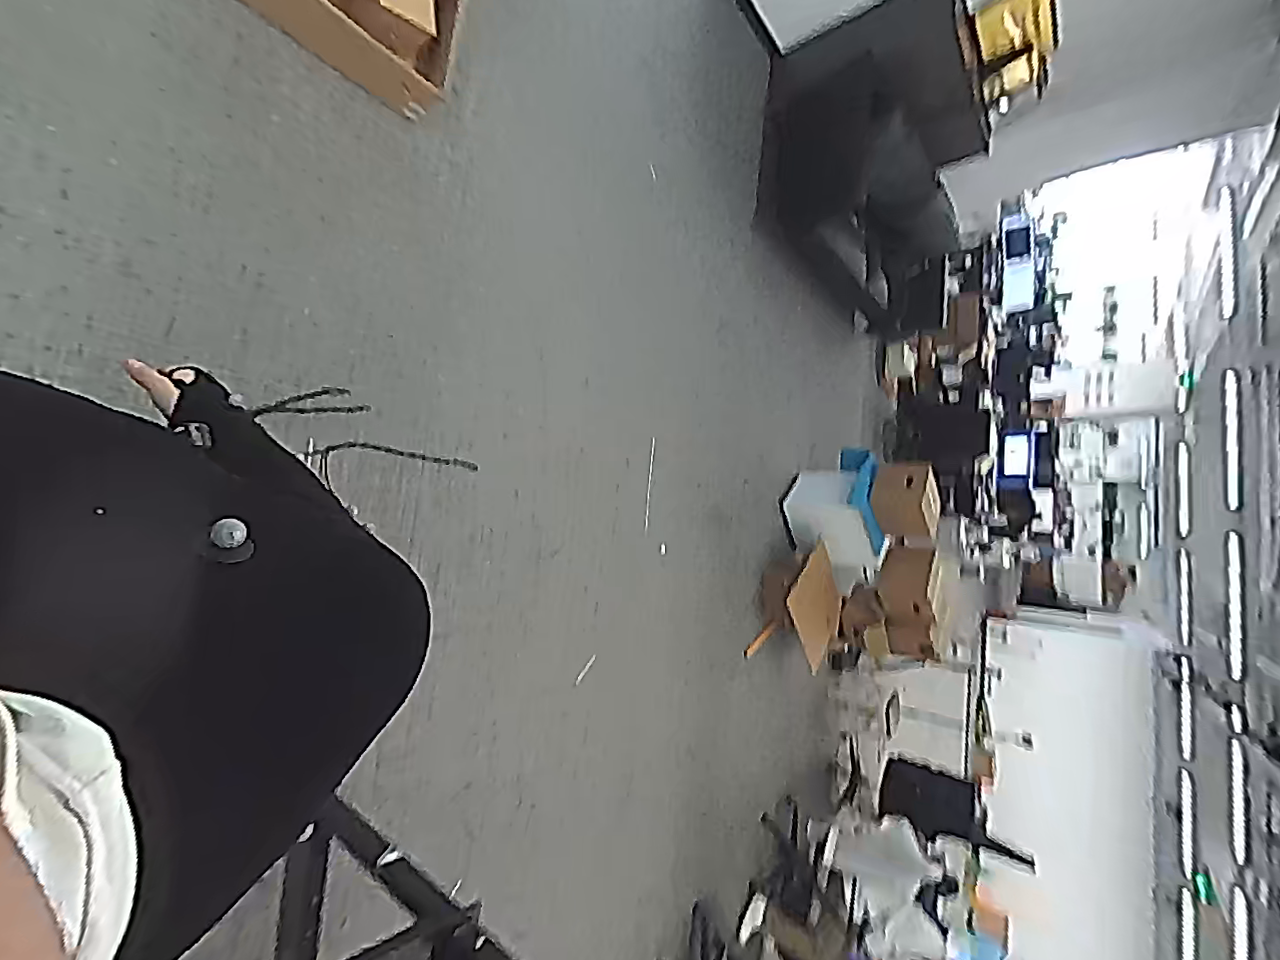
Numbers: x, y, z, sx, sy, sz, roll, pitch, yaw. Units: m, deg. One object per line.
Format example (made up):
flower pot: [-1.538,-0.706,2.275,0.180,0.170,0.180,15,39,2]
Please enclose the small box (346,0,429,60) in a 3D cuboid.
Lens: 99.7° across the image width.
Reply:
small box: [-0.730,-1.366,1.556,0.168,0.176,0.179,-9,97,-50]
